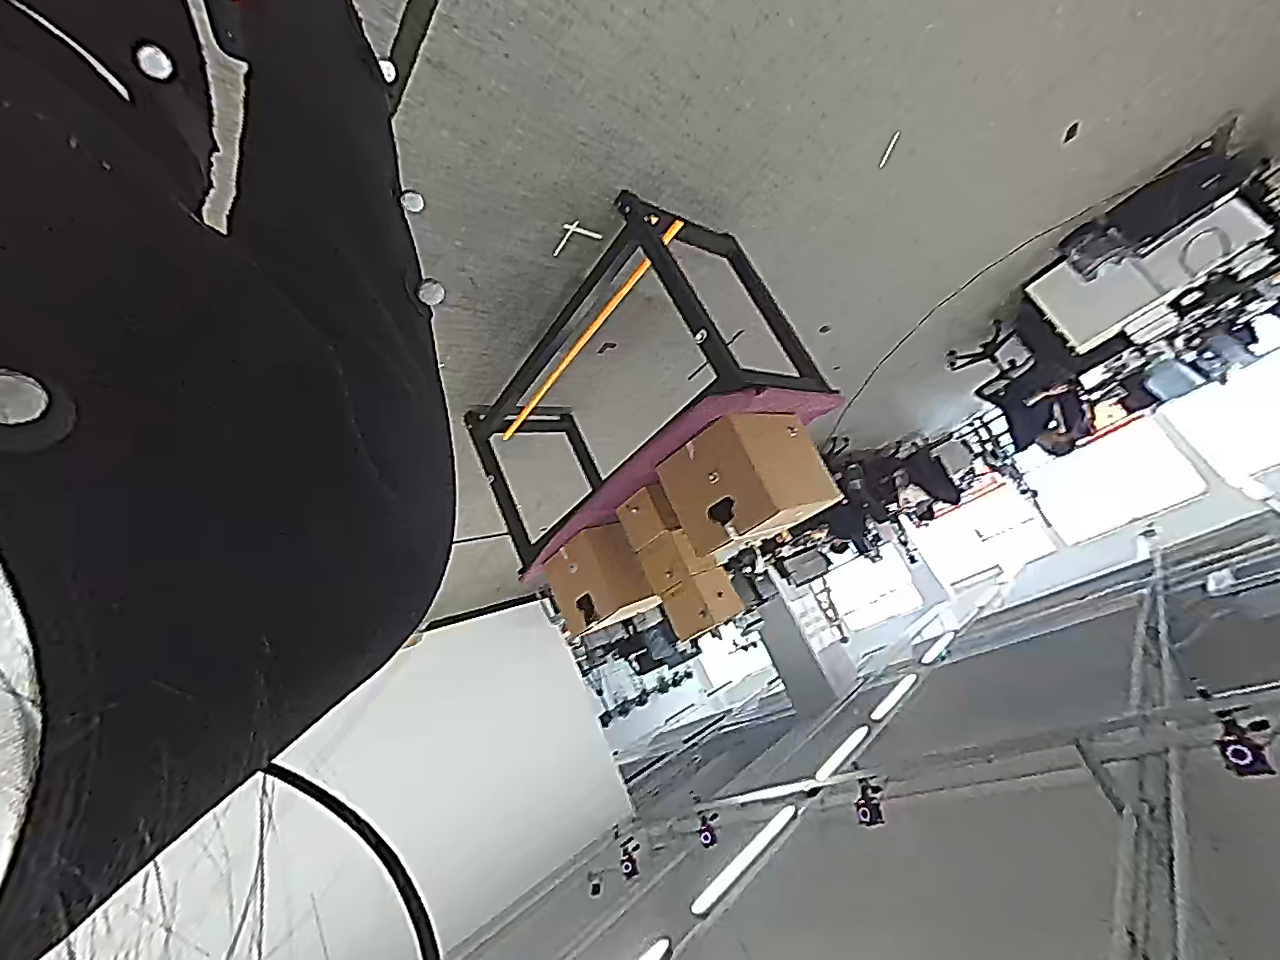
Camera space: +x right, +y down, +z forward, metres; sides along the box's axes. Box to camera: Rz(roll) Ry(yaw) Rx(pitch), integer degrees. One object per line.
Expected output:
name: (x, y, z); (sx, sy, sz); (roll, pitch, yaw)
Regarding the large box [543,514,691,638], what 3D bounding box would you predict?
large box: (-0.092, 0.355, 2.079); (0.408, 0.320, 0.320); (-8, 155, -47)
